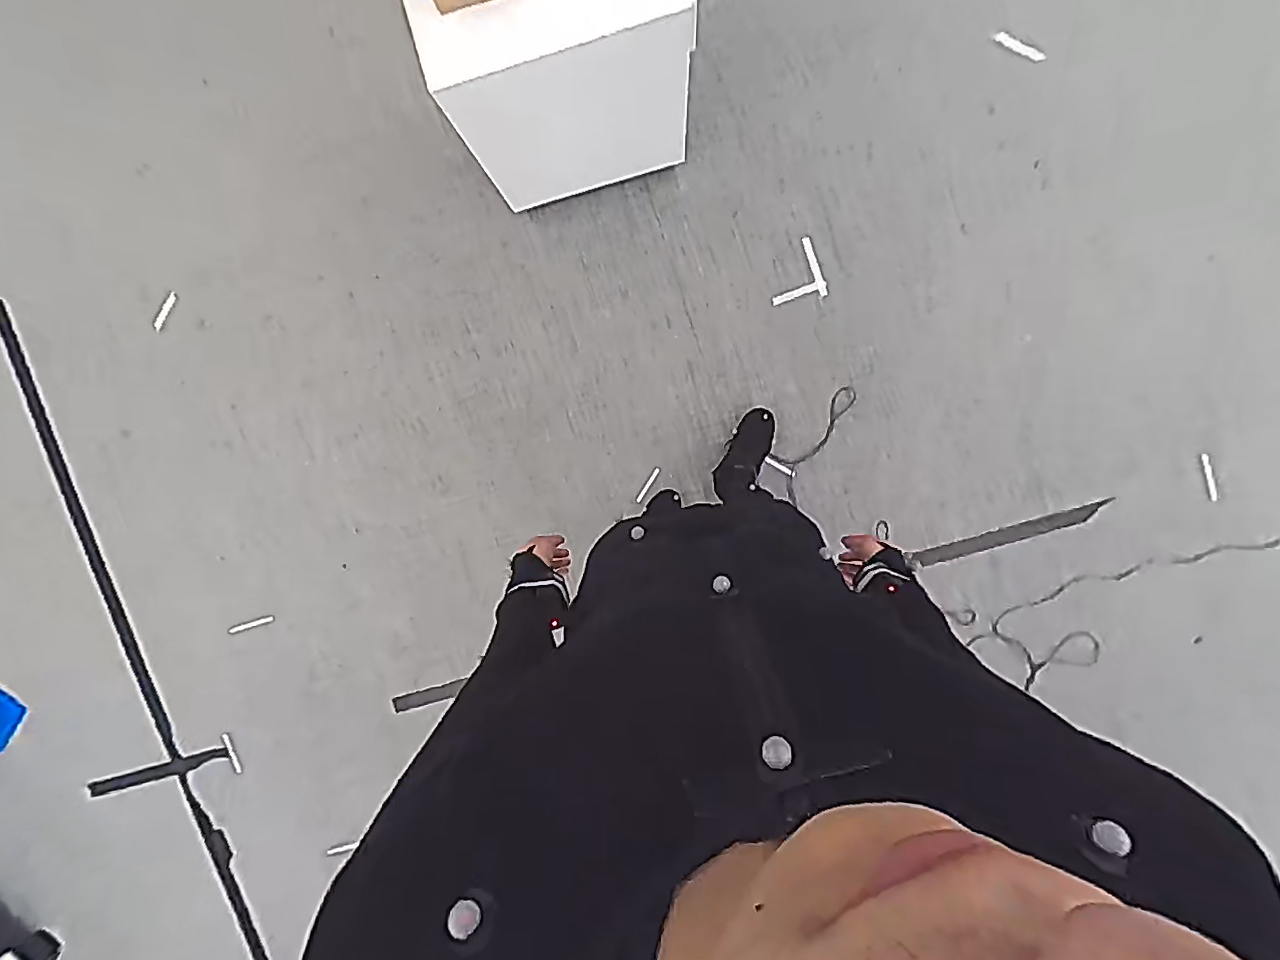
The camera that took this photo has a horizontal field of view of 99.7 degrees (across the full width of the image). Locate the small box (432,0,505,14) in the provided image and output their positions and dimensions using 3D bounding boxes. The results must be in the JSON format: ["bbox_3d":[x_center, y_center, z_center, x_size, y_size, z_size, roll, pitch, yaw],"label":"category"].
[{"bbox_3d":[-0.306,-0.939,0.904,0.179,0.176,0.168,-13,94,3],"label":"small box"}]
